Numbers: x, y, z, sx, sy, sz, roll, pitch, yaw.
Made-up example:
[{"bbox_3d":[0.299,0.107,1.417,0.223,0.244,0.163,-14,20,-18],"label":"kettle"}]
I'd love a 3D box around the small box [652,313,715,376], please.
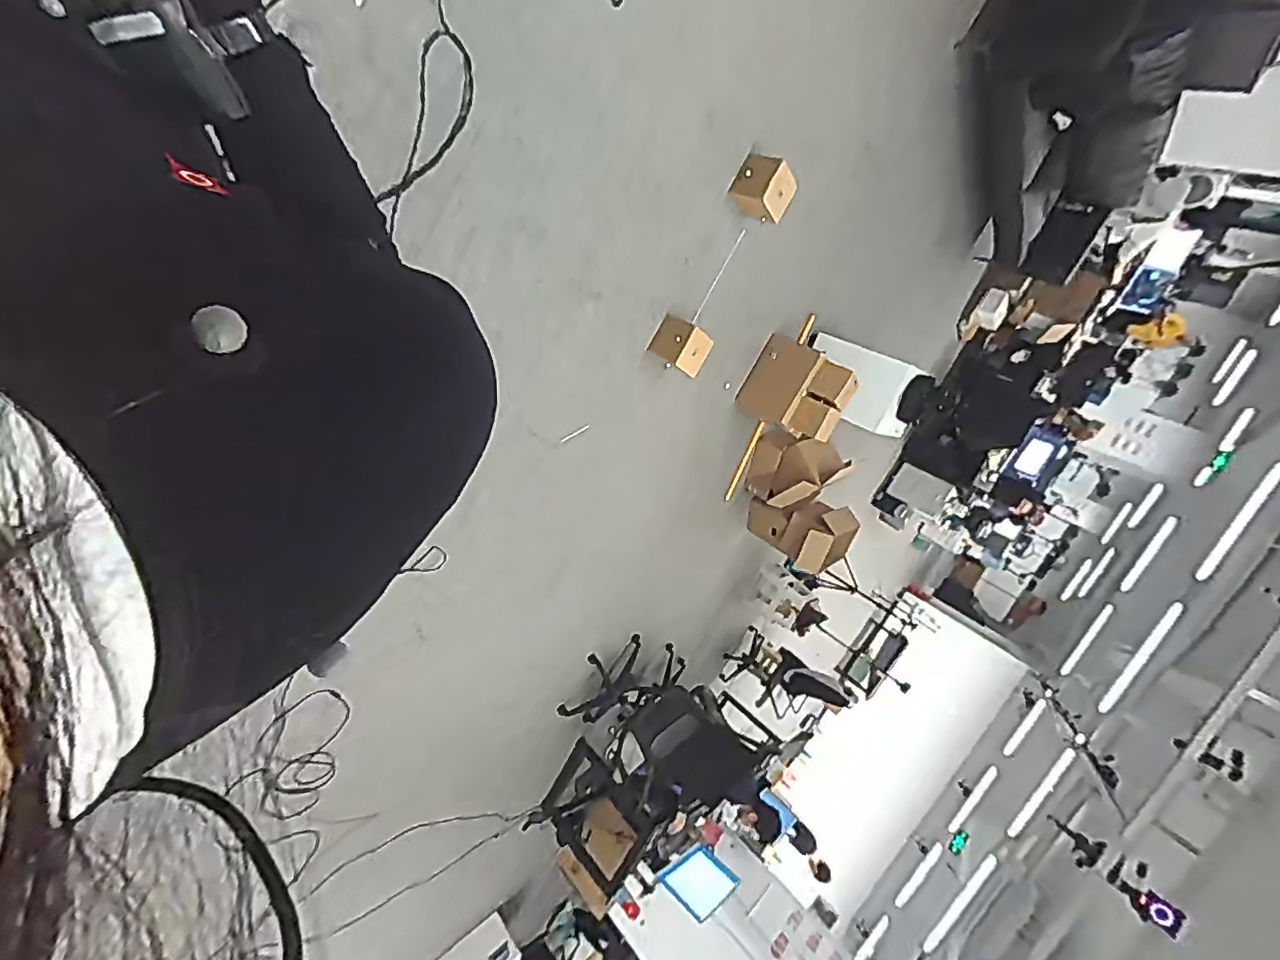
[{"bbox_3d":[0.174,-0.565,2.252,0.168,0.176,0.179,18,103,-55],"label":"small box"}]

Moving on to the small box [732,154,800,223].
[{"bbox_3d":[0.498,-1.160,2.143,0.179,0.176,0.168,18,104,-55],"label":"small box"}]
